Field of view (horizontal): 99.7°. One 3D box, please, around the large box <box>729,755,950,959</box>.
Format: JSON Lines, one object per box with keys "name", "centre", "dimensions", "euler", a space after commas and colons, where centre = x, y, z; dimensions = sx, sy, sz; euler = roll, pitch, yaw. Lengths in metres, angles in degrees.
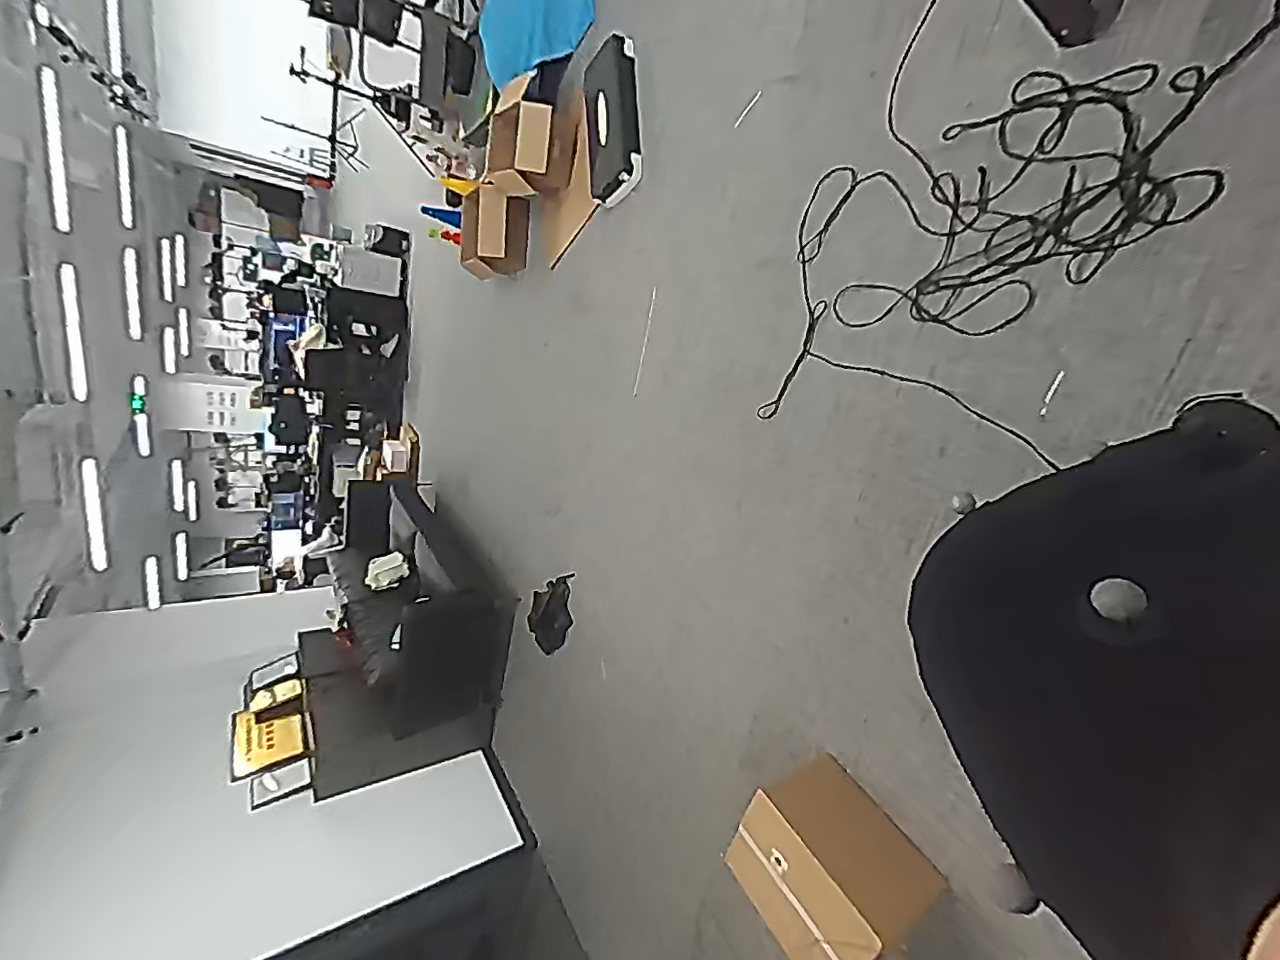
{"name": "large box", "centre": [0.522, 1.050, 1.461], "dimensions": [0.408, 0.320, 0.320], "euler": [42, 123, 47]}
